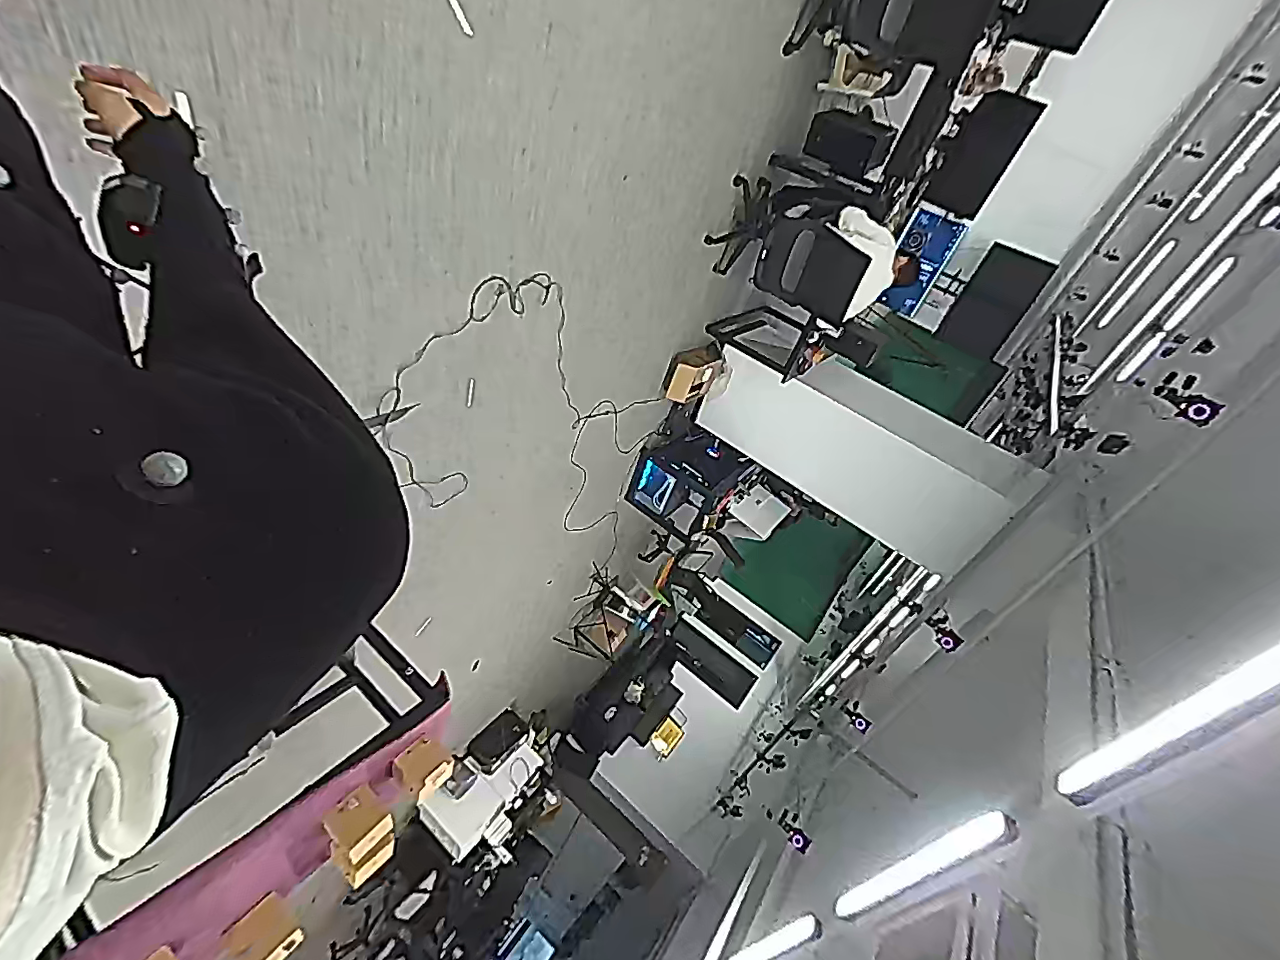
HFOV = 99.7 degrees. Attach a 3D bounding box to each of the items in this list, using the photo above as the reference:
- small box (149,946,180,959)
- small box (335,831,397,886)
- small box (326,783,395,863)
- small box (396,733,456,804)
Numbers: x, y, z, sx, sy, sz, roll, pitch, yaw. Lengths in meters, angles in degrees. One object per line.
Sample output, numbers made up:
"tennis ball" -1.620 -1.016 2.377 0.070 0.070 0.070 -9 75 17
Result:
"small box" -1.400 1.500 1.551 0.179 0.176 0.168 -33 151 -49
"small box" -1.116 1.489 2.196 0.168 0.176 0.179 -30 149 -49
"small box" -1.044 1.277 2.024 0.168 0.176 0.179 -37 154 -43
"small box" -0.885 1.178 2.224 0.168 0.176 0.179 -33 153 -46
